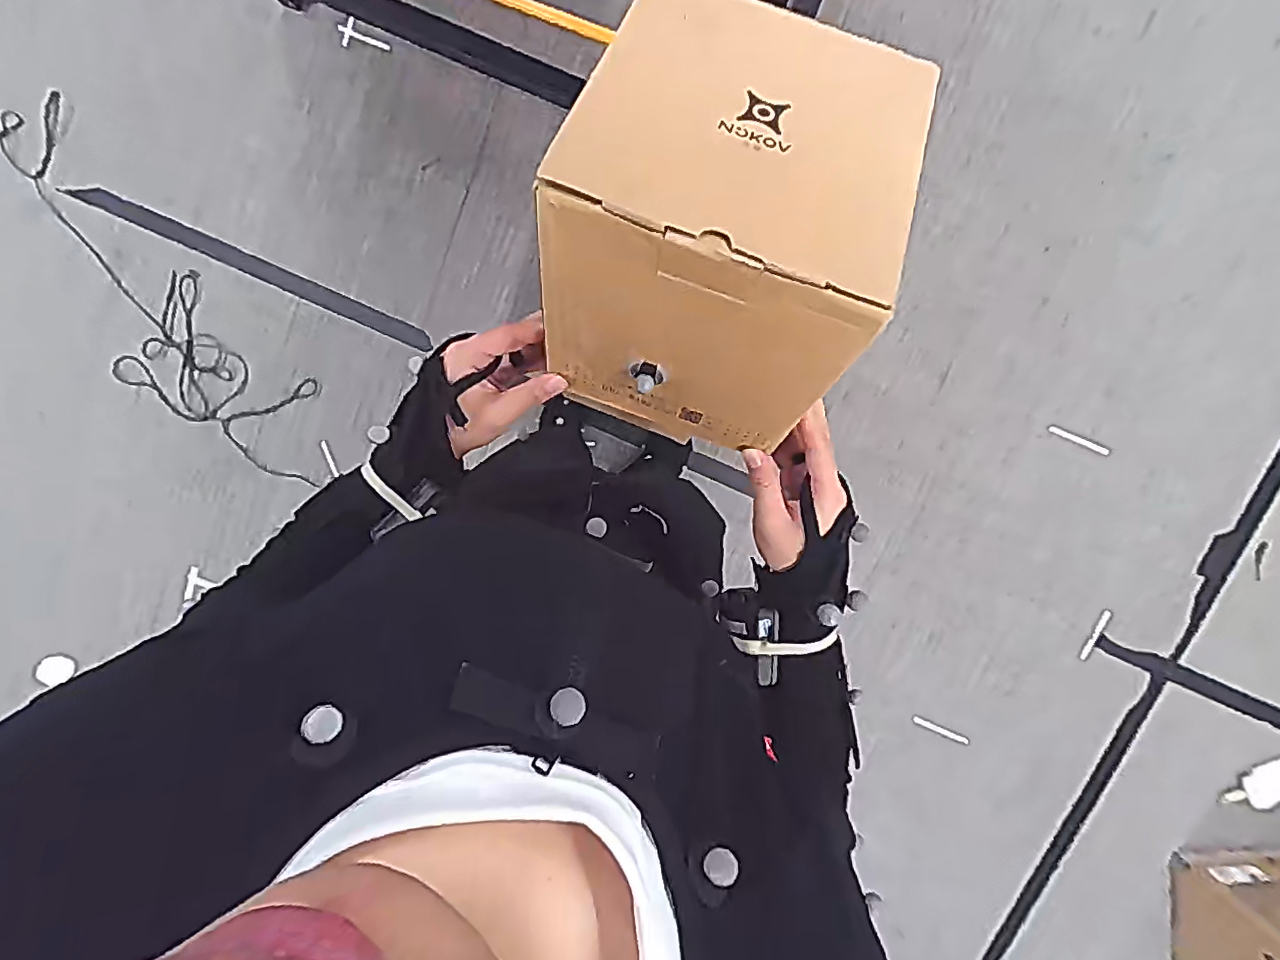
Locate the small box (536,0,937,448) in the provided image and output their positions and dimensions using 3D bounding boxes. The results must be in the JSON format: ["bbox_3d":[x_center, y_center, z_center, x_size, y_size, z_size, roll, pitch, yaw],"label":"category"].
[{"bbox_3d":[0.046,-0.147,0.333,0.168,0.176,0.179,20,69,0],"label":"small box"}]
